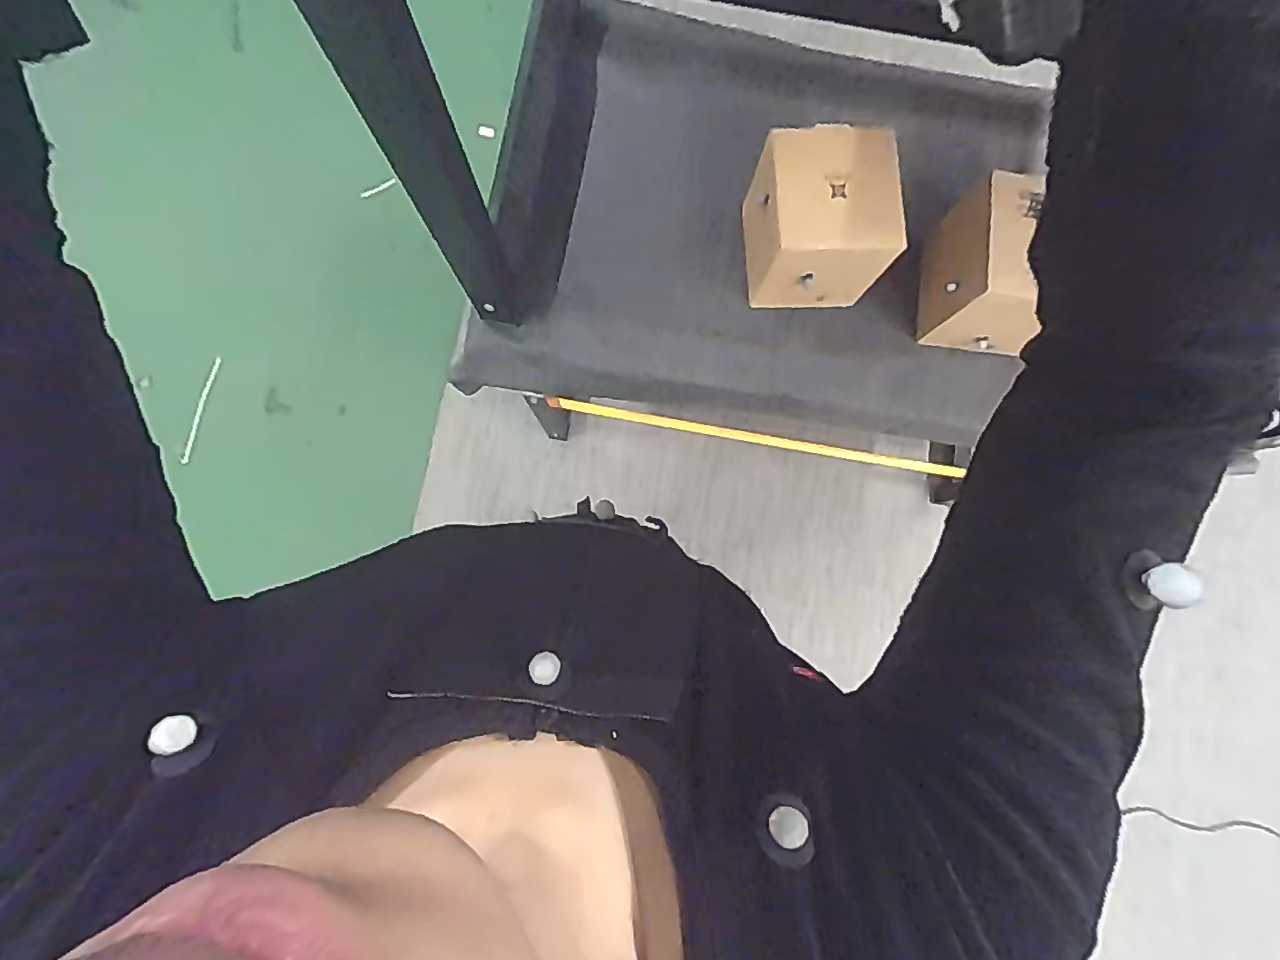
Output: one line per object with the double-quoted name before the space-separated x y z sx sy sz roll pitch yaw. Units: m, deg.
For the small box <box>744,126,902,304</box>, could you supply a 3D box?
"small box" 0.250 -0.367 0.777 0.168 0.176 0.179 -1 81 -2
